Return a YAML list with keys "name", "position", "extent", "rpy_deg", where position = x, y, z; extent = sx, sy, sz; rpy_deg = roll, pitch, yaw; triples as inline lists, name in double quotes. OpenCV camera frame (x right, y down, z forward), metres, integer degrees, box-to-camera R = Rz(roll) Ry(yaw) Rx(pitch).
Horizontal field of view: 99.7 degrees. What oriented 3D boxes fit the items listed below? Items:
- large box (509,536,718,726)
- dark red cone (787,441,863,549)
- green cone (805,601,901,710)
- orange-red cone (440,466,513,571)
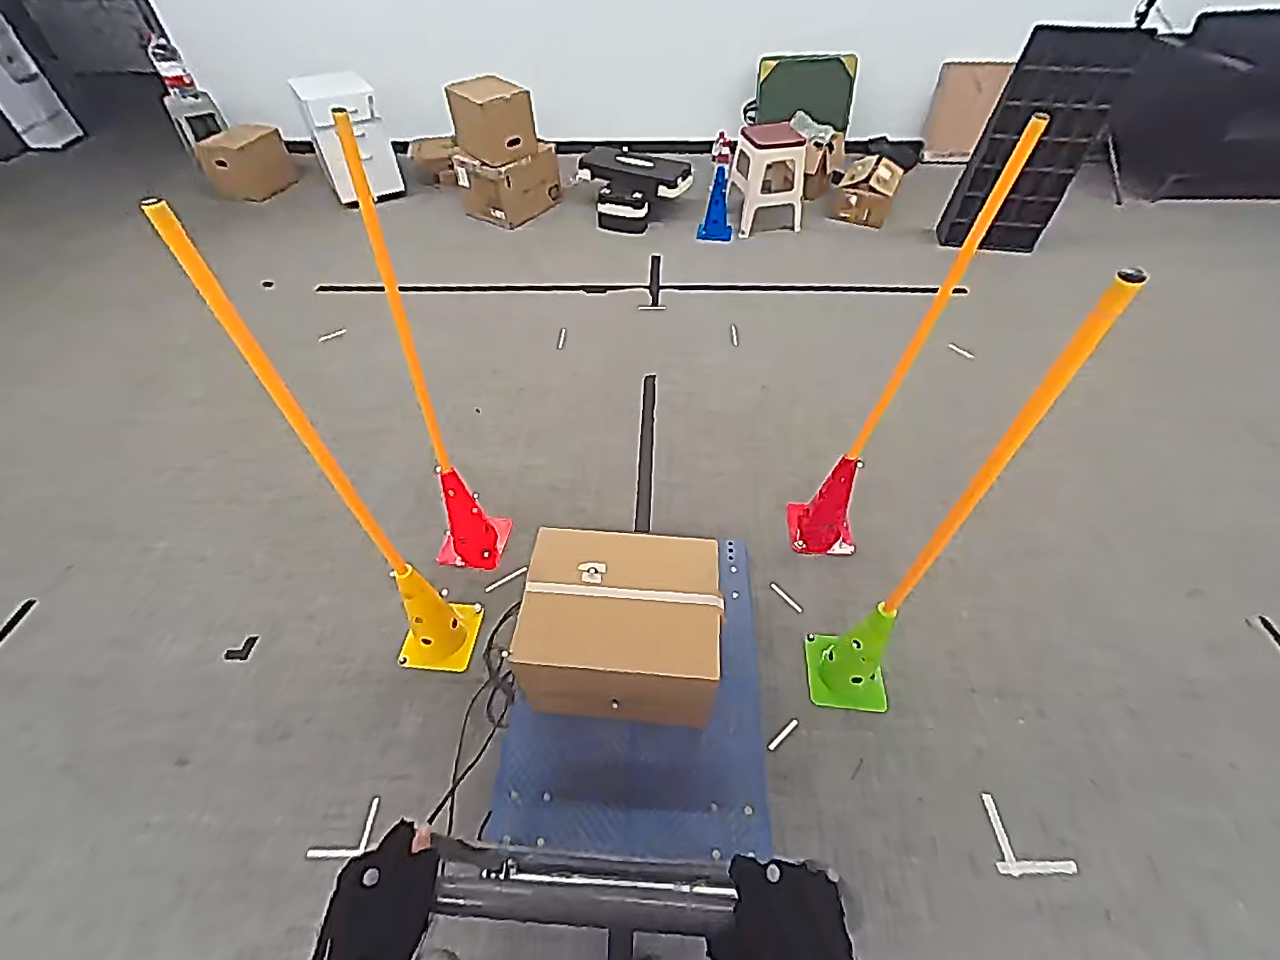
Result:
- name: "large box"
  position: [-0.037, 0.346, 1.228]
  extent: [0.408, 0.320, 0.320]
  rpy_deg: [3, 50, 4]
- name: "dark red cone"
  position: [0.599, 0.034, 1.658]
  extent: [0.201, 0.394, 0.202]
  rpy_deg: [2, 49, 0]
- name: "green cone"
  position: [0.561, 0.411, 1.354]
  extent: [0.202, 0.368, 0.200]
  rpy_deg: [5, 49, 3]
- name: "orange-red cone"
  position: [-0.534, 0.089, 1.650]
  extent: [0.198, 0.360, 0.199]
  rpy_deg: [8, 48, 6]
